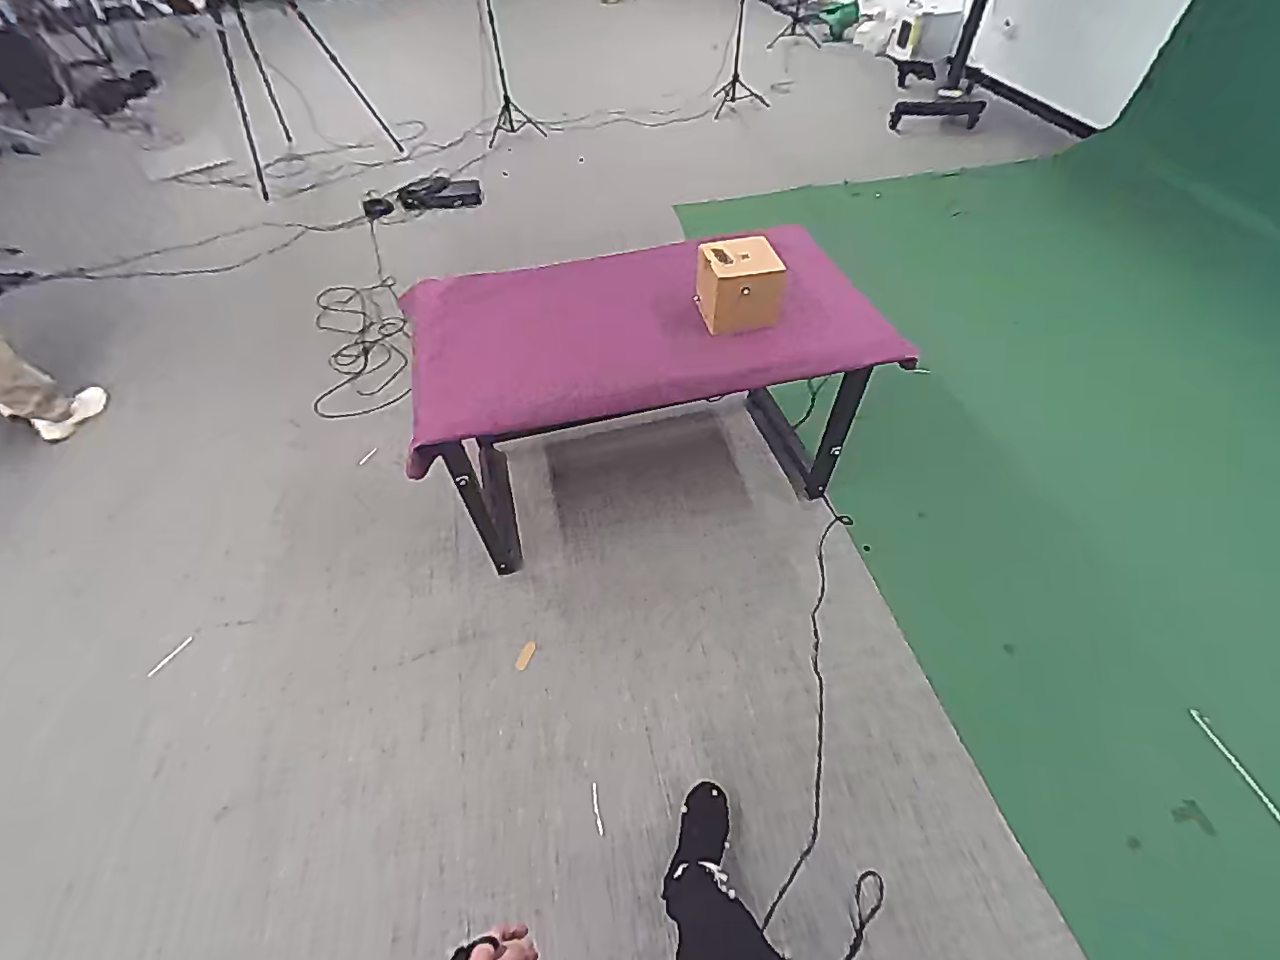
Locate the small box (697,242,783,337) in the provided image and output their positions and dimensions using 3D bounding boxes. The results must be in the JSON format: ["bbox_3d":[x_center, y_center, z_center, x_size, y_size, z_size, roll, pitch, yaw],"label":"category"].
[{"bbox_3d":[0.250,-0.491,1.408,0.179,0.176,0.168,-10,52,-7],"label":"small box"}]
